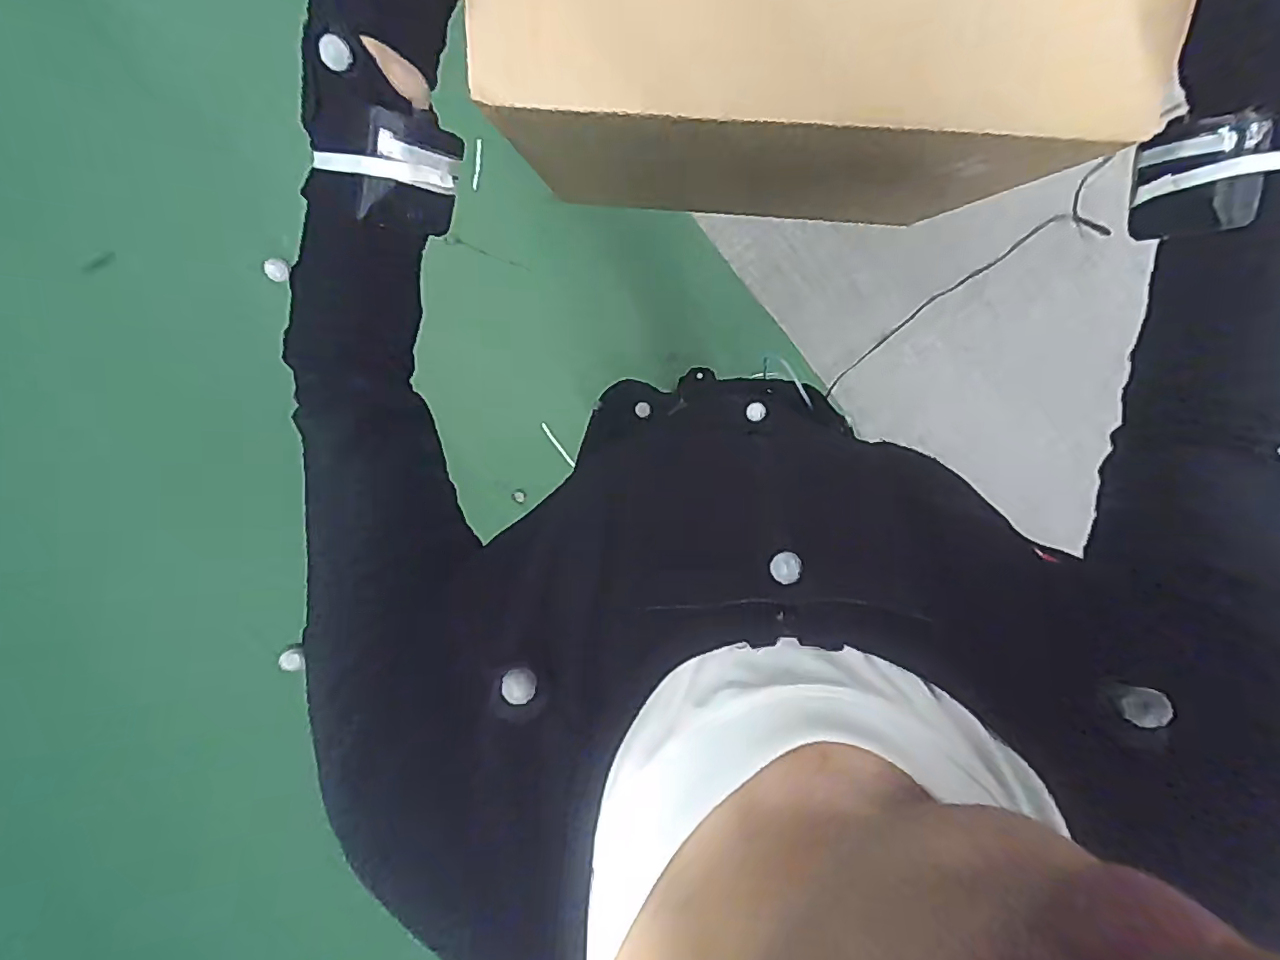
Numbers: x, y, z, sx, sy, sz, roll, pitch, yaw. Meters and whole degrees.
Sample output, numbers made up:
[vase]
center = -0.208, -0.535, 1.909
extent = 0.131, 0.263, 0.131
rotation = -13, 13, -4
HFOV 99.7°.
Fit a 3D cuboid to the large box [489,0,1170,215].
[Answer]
[large box]
center = 0.115, -0.413, 0.431
extent = 0.408, 0.320, 0.320
rotation = 4, 108, 1
